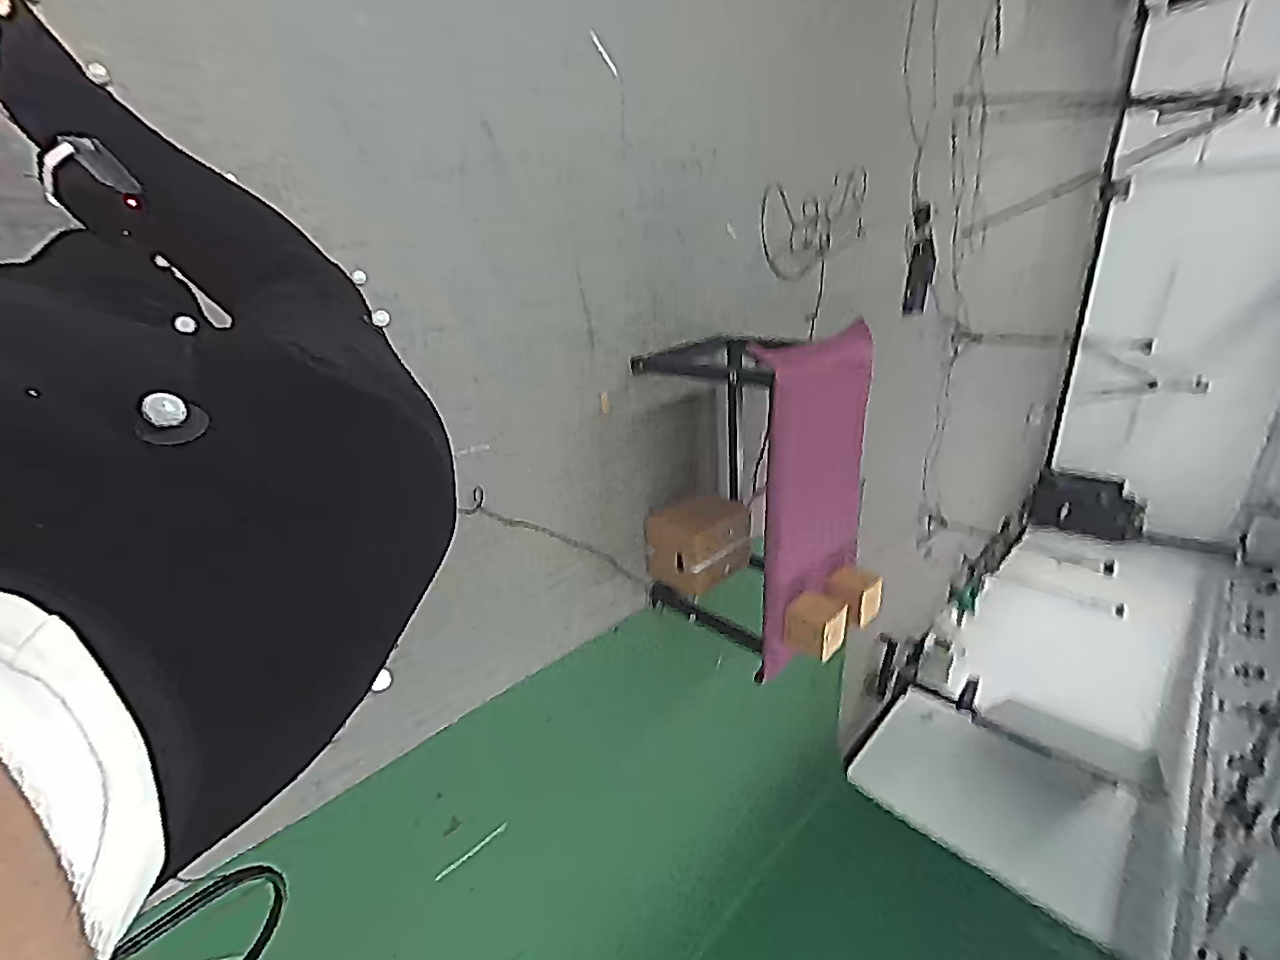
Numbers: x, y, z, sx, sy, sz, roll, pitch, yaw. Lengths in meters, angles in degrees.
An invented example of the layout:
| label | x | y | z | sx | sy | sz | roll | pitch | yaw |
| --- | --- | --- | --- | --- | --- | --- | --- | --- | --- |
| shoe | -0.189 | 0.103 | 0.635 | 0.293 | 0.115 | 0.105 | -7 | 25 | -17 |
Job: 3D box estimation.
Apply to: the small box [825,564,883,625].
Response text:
| label | x | y | z | sx | sy | sz | roll | pitch | yaw |
| --- | --- | --- | --- | --- | --- | --- | --- | --- | --- |
| small box | 0.904 | 0.478 | 2.291 | 0.179 | 0.176 | 0.168 | -20 | 114 | -38 |

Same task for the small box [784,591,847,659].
| label | x | y | z | sx | sy | sz | roll | pitch | yaw |
| --- | --- | --- | --- | --- | --- | --- | --- | --- | --- |
| small box | 0.676 | 0.552 | 2.088 | 0.179 | 0.176 | 0.168 | -22 | 116 | -42 |

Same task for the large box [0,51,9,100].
| label | x | y | z | sx | sy | sz | roll | pitch | yaw |
| --- | --- | --- | --- | --- | --- | --- | --- | --- | --- |
| large box | -0.757 | -0.410 | 0.324 | 0.408 | 0.320 | 0.320 | -32 | 132 | -39 |
